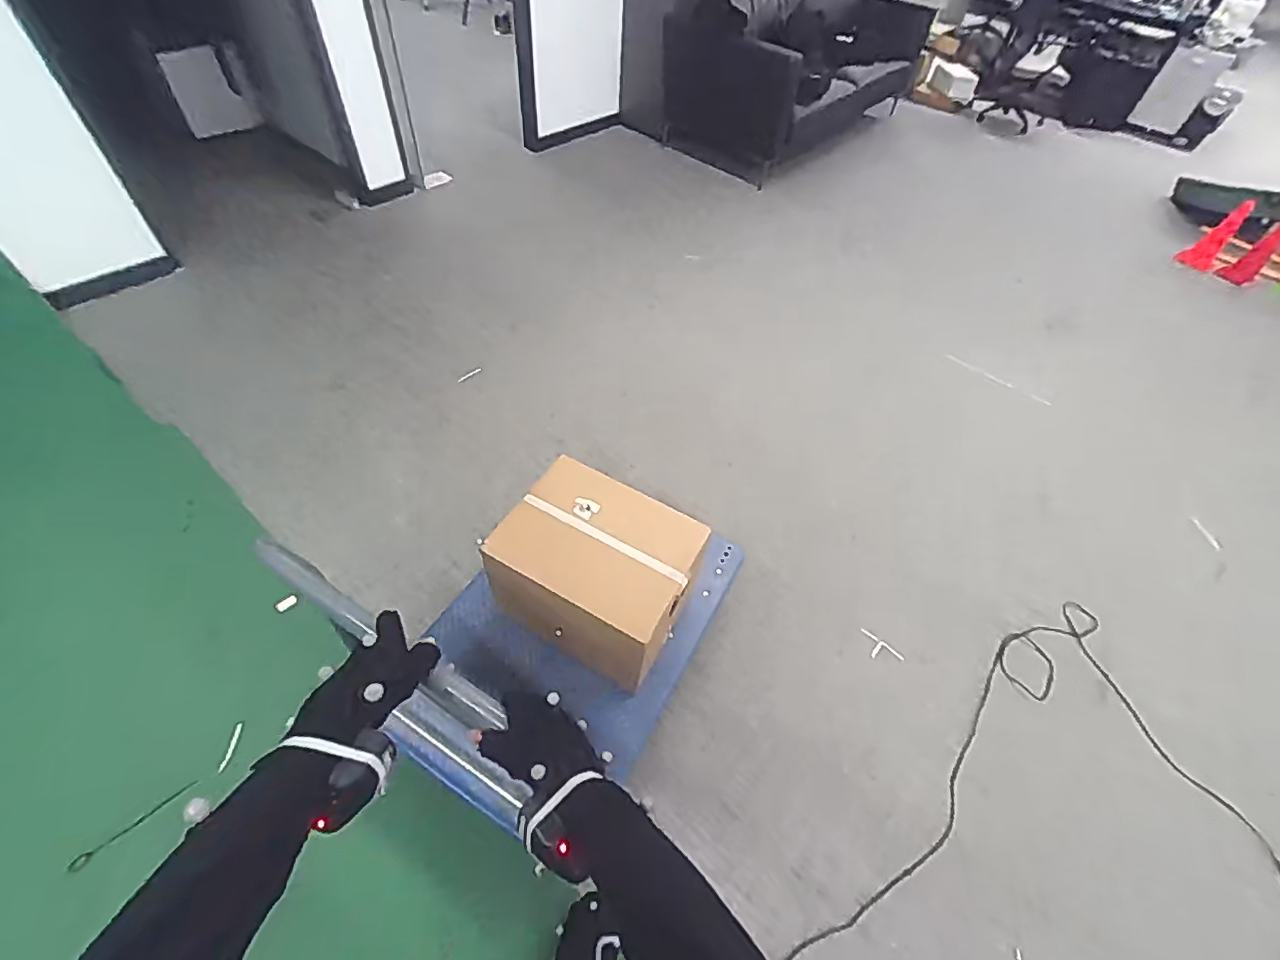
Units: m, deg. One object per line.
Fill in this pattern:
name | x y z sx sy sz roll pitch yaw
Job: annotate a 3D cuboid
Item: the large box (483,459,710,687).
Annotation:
large box | -0.093 0.221 1.285 0.408 0.320 0.320 26 53 15
